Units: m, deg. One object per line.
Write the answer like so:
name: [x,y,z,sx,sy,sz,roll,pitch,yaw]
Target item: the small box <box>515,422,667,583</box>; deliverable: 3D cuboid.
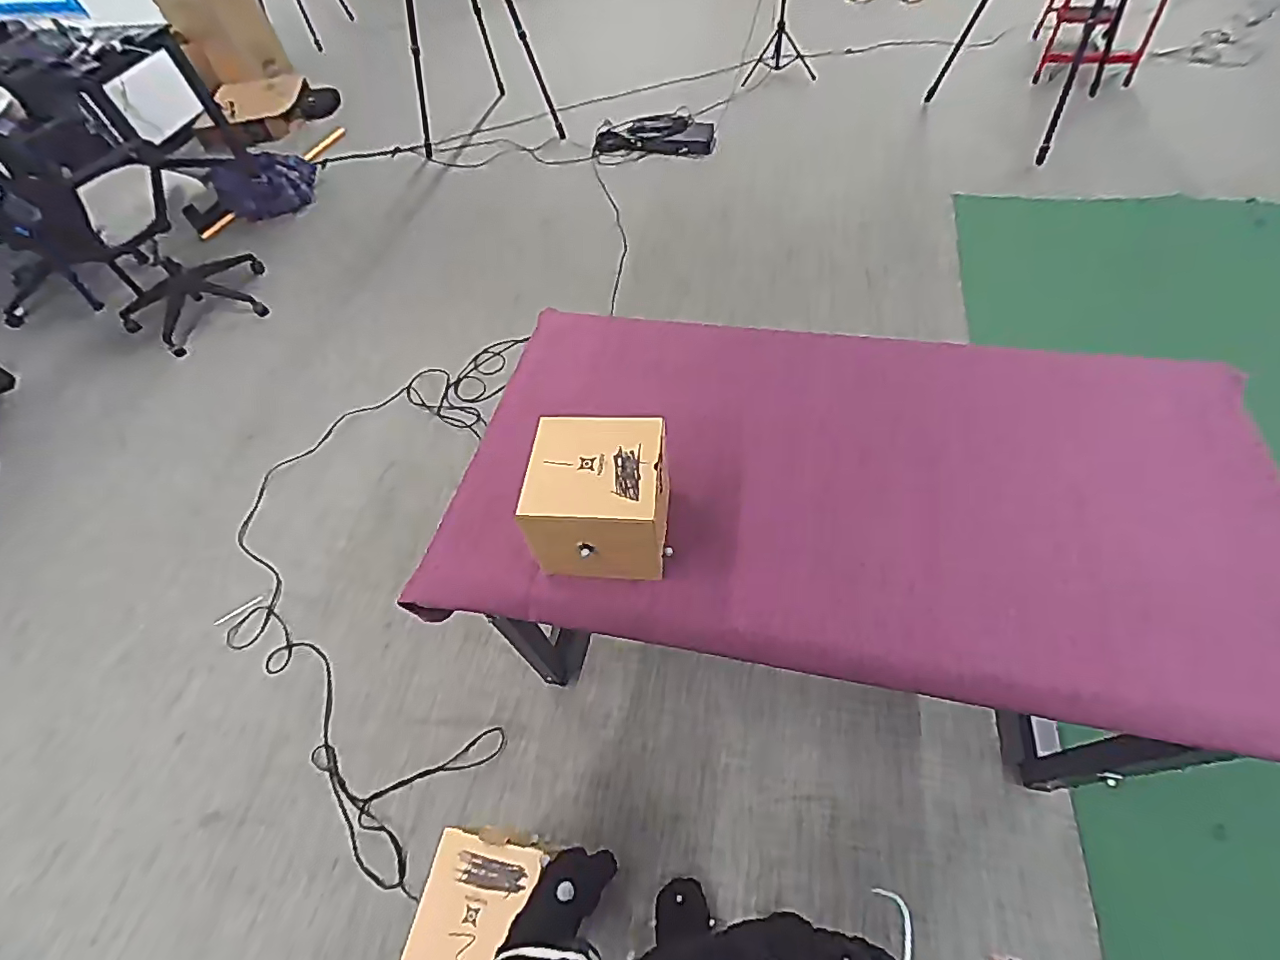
small box: [-0.055,0.036,0.769,0.179,0.176,0.168,2,54,7]
